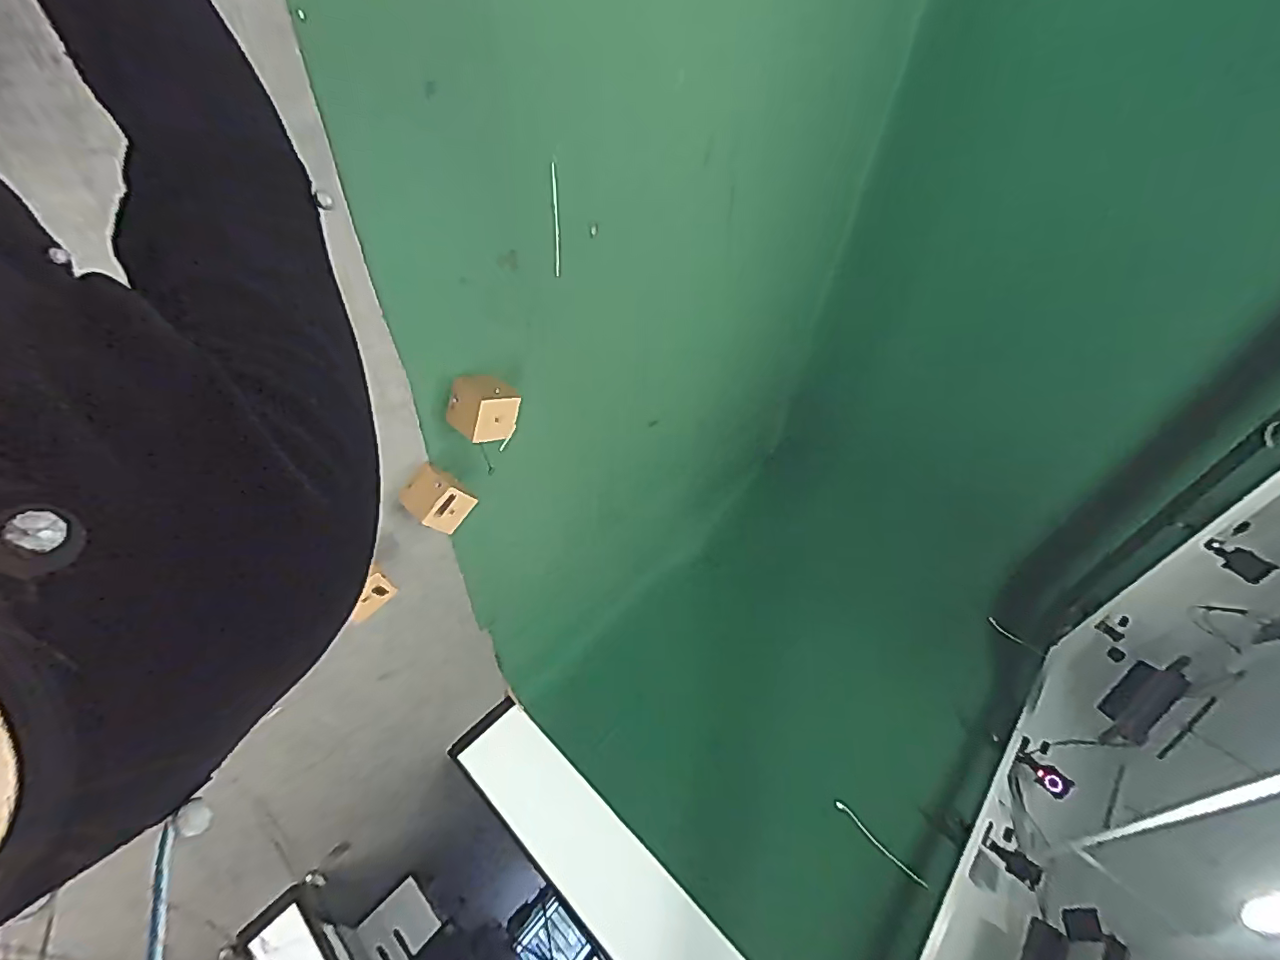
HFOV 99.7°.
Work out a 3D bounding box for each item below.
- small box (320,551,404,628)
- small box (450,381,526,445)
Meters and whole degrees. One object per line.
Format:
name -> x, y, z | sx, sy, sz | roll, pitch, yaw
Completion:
small box -> -0.985, 0.383, 1.917 | 0.179, 0.176, 0.168 | -42, 150, -22
small box -> -0.542, -0.243, 1.923 | 0.179, 0.176, 0.168 | -16, 134, -51
